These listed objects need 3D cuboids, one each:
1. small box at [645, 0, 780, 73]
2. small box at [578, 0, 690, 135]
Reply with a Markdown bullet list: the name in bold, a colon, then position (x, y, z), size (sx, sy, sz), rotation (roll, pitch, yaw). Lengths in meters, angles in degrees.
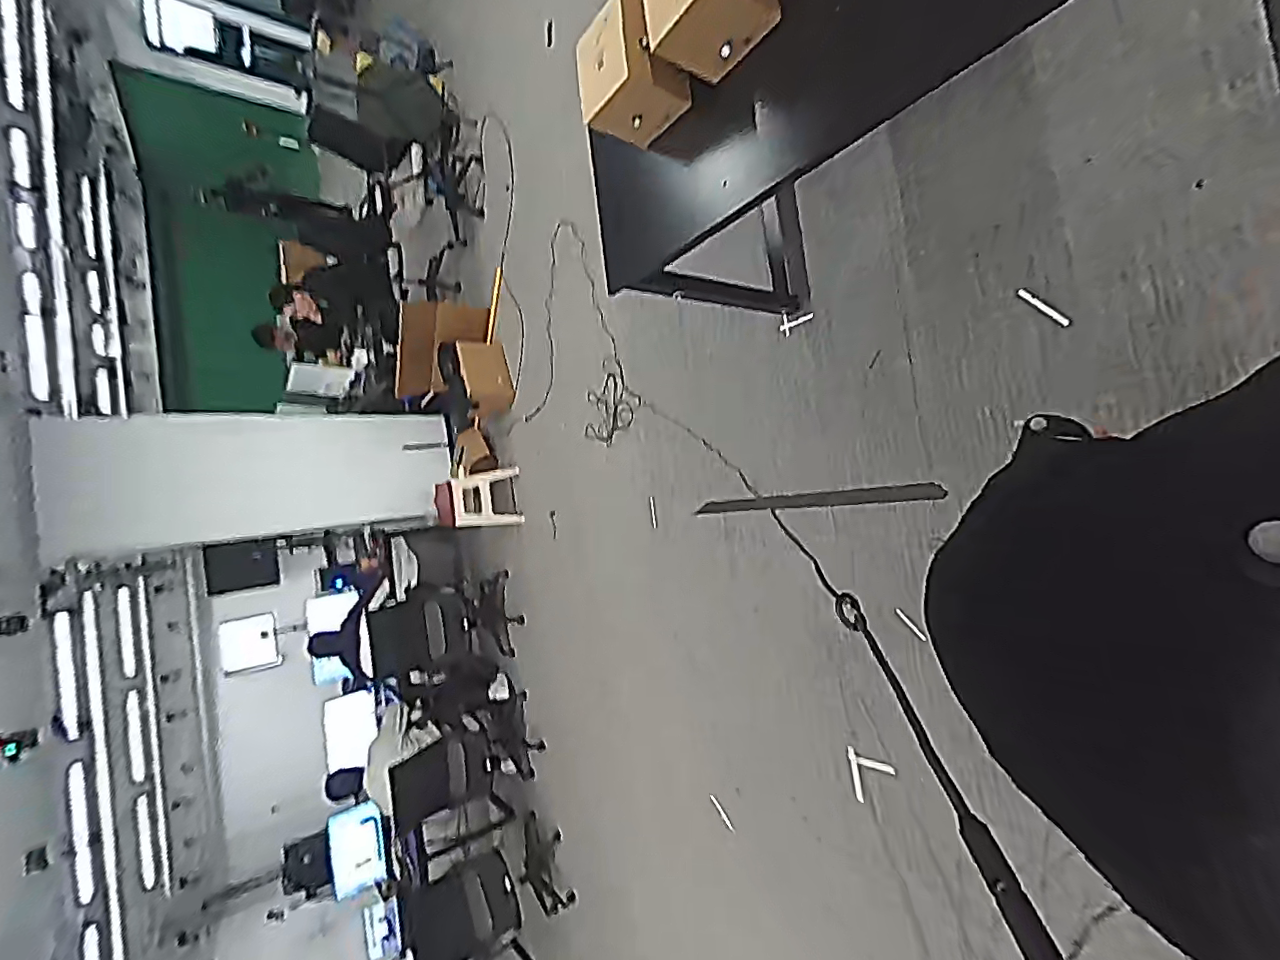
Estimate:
- **small box**: position (0.123, -0.875, 0.951), size (0.168, 0.176, 0.179), rotation (-10, 87, 53)
- **small box**: position (-0.010, -0.859, 1.131), size (0.168, 0.176, 0.179), rotation (-4, 91, 52)
